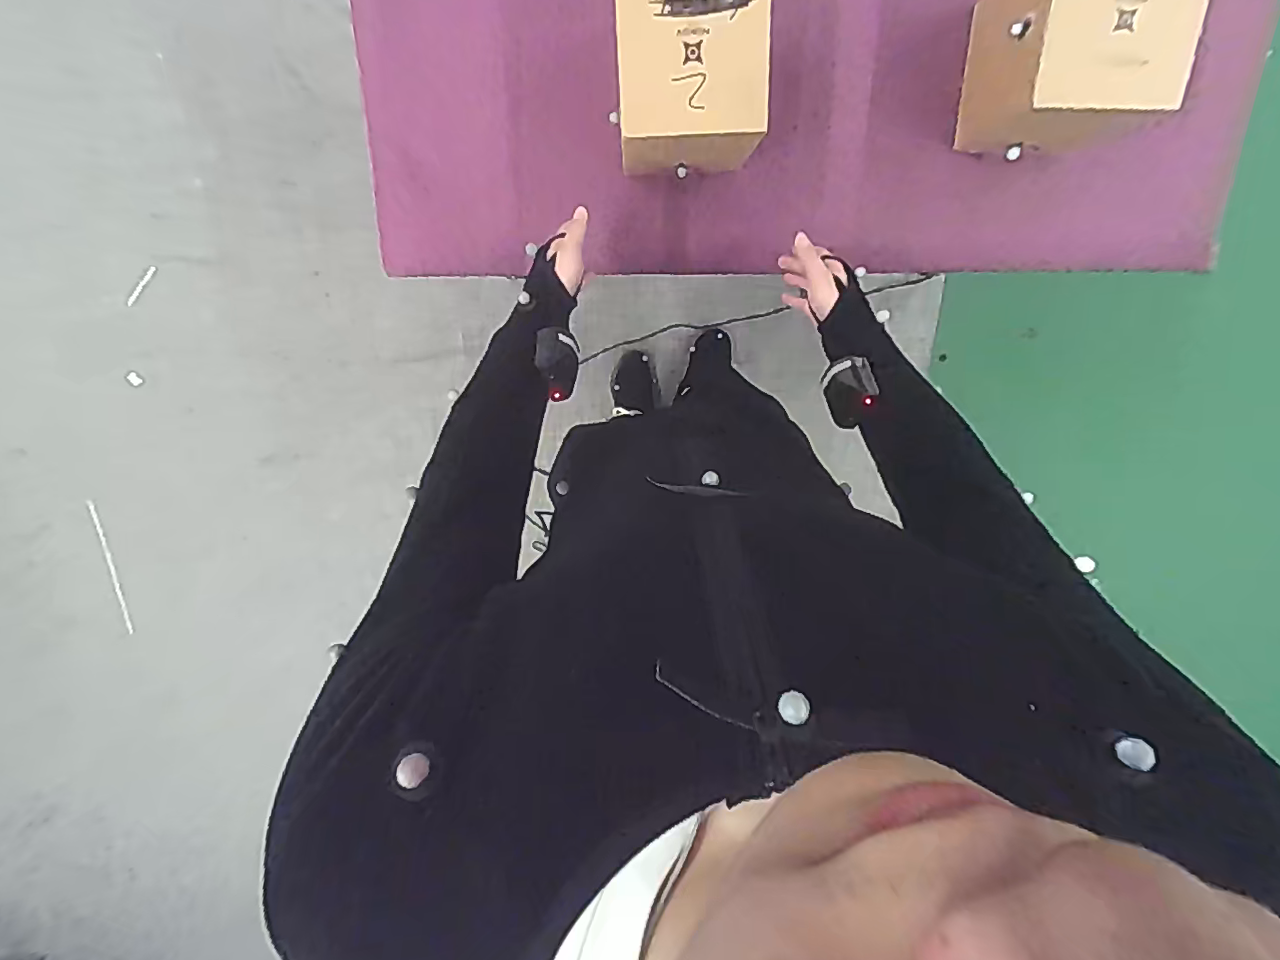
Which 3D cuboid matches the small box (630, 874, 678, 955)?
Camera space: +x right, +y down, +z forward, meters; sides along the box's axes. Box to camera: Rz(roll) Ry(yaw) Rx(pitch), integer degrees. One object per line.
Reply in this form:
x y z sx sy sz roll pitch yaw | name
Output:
0.054 1.603 1.997 0.168 0.176 0.179 -5 106 2 | small box

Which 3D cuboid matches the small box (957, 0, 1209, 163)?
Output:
0.514 -0.507 0.649 0.168 0.176 0.179 2 105 1 | small box

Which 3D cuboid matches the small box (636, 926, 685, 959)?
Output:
0.073 1.664 1.842 0.168 0.176 0.179 -4 107 2 | small box
